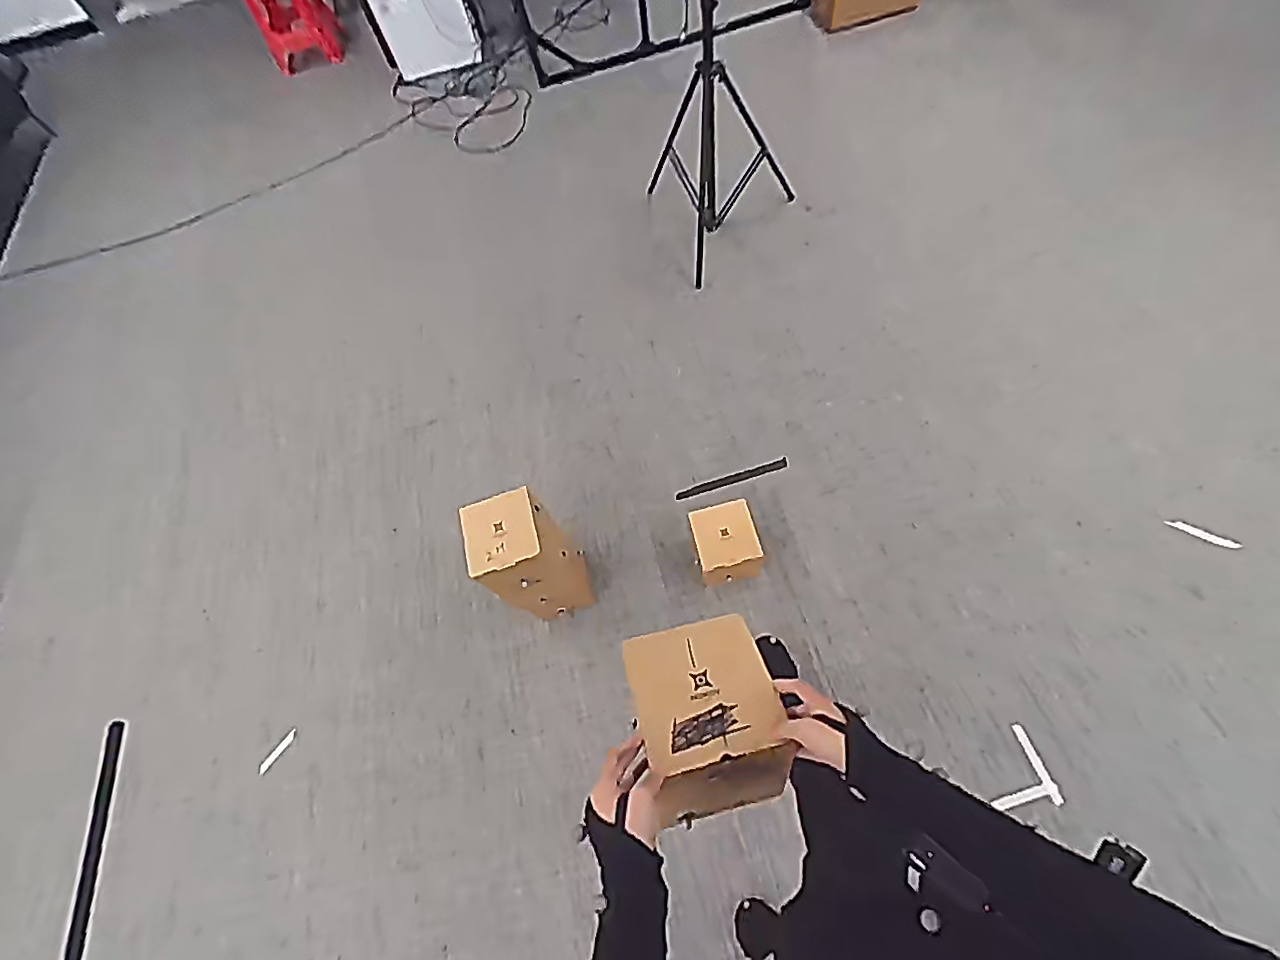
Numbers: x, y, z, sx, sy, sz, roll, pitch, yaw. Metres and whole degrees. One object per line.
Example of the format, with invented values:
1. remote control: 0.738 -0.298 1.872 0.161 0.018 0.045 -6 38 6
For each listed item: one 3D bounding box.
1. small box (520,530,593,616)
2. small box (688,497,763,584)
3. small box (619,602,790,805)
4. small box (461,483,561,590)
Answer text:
1. small box: -0.247 0.271 1.559 0.168 0.176 0.179 -19 63 1
2. small box: 0.237 0.175 1.531 0.168 0.176 0.179 -14 64 1
3. small box: 0.075 0.291 0.697 0.168 0.176 0.179 -11 42 -8
4. small box: -0.298 0.136 1.265 0.168 0.176 0.179 -19 64 1
